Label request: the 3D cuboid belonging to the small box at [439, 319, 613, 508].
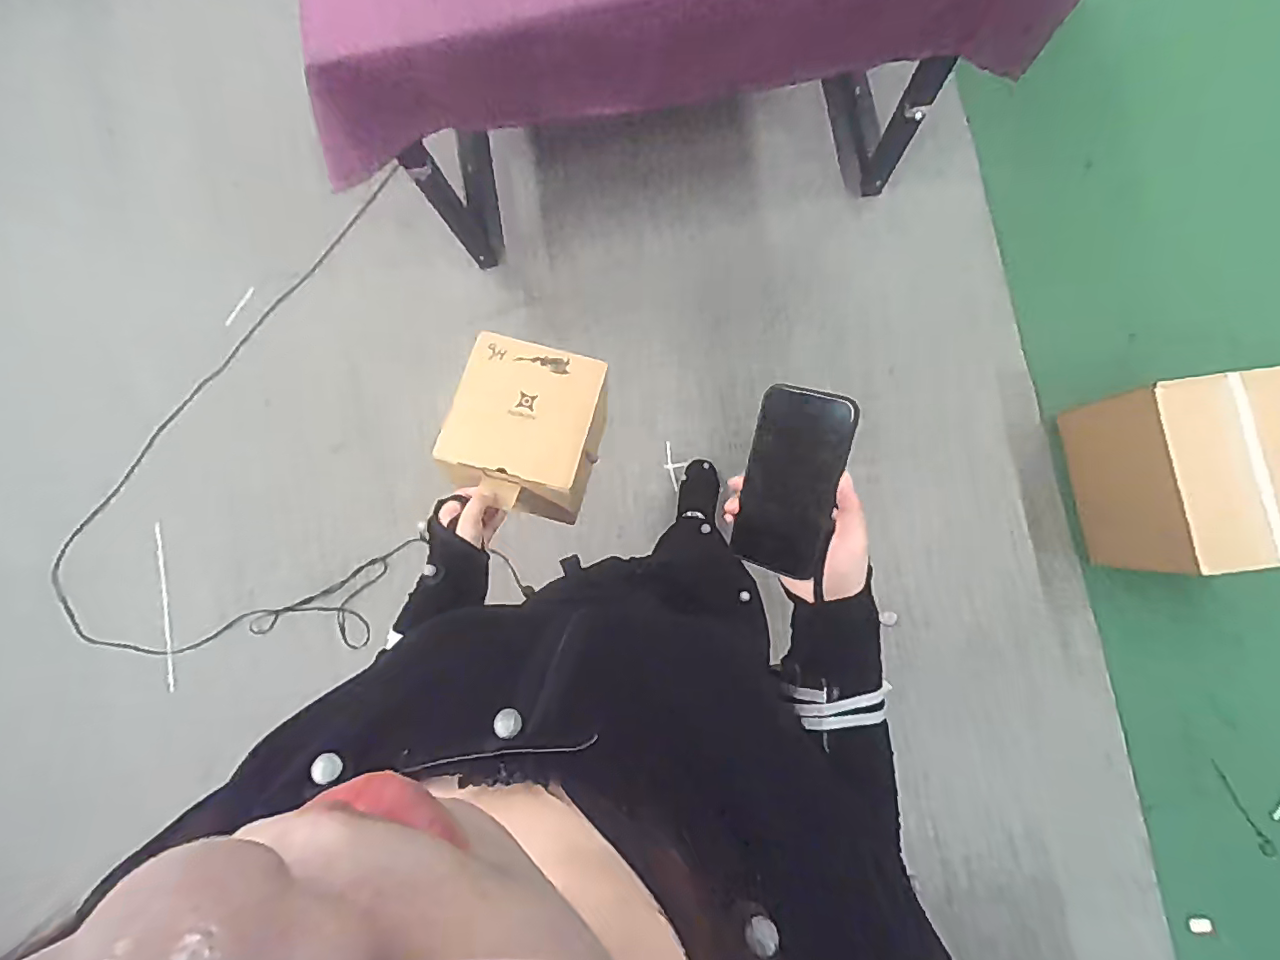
[{"bbox_3d":[-0.135,-0.075,0.713,0.168,0.176,0.179,15,73,1],"label":"small box"}]
